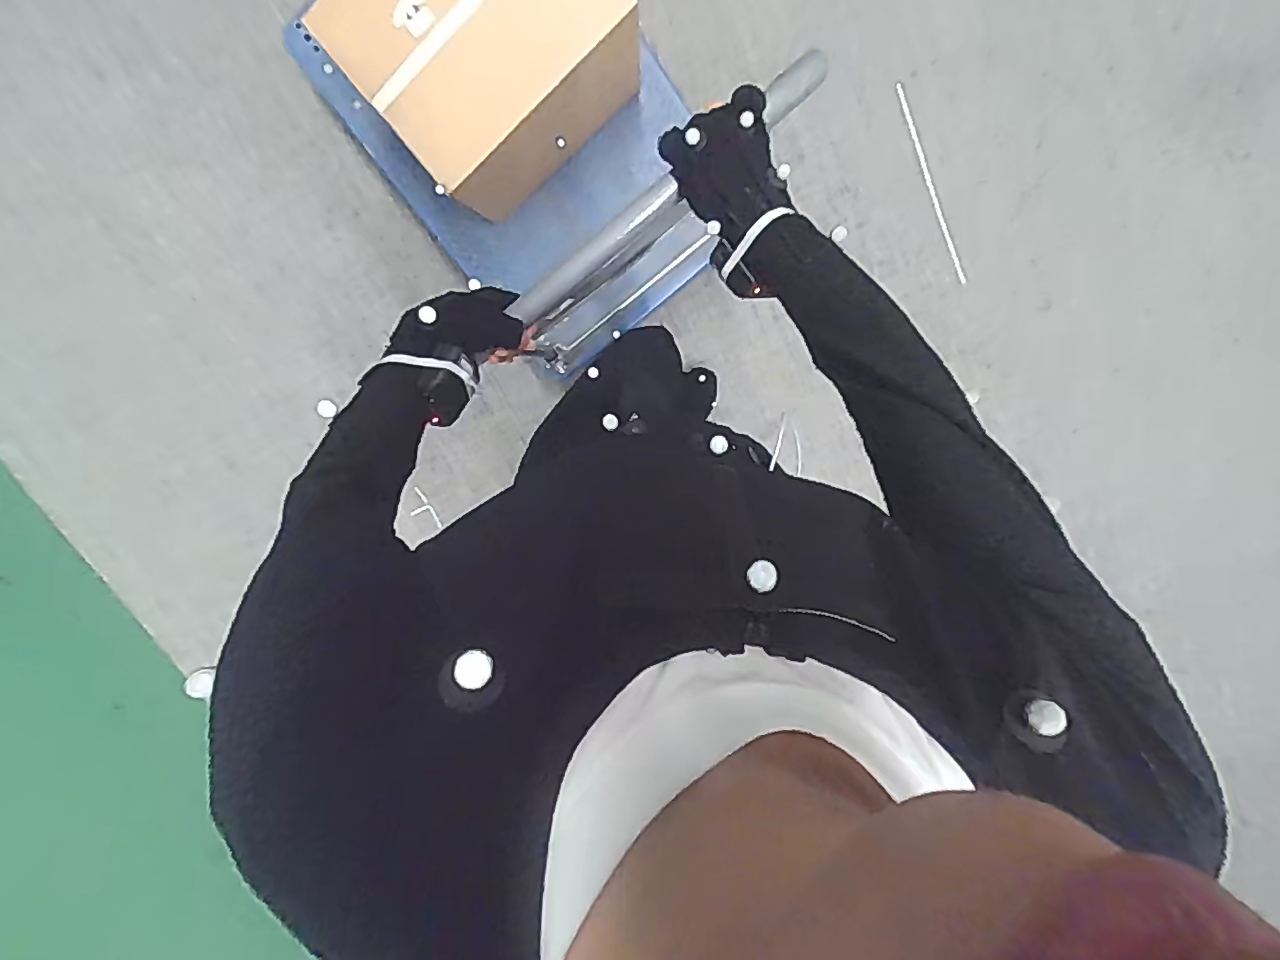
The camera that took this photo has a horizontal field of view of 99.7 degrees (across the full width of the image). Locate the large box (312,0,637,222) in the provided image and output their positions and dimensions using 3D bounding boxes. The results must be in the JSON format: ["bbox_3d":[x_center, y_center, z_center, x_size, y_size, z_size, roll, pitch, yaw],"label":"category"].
[{"bbox_3d":[-0.250,-0.739,0.950,0.408,0.320,0.320,-39,102,11],"label":"large box"}]
